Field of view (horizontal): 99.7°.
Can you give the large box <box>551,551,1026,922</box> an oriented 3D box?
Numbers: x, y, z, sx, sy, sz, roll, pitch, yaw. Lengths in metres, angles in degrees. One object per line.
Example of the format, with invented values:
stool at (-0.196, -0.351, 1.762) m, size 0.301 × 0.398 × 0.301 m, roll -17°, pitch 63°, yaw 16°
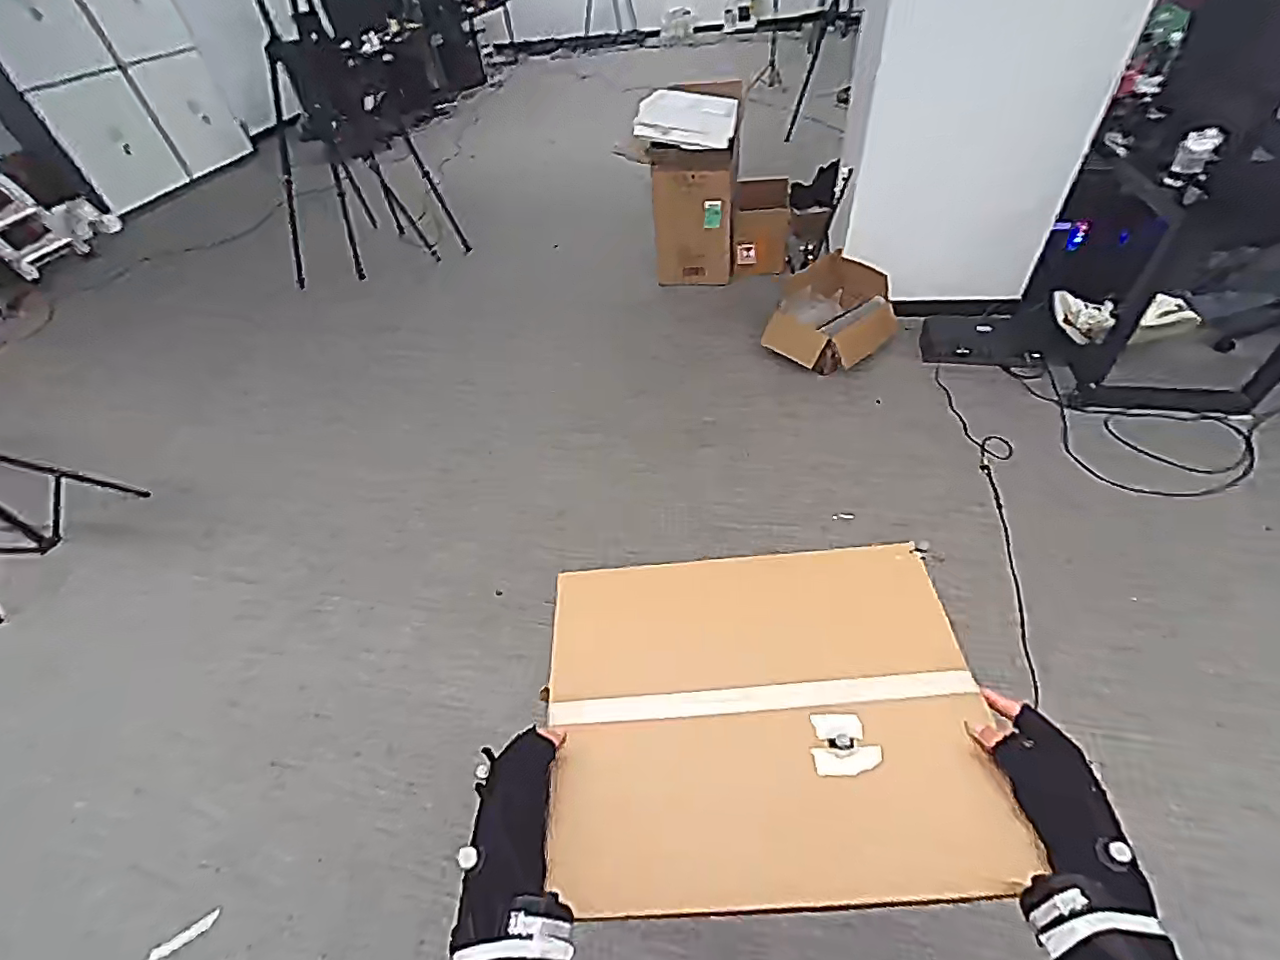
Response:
large box at (0.123, 0.316, 0.652) m, size 0.408 × 0.320 × 0.320 m, roll -6°, pitch 51°, yaw 2°
